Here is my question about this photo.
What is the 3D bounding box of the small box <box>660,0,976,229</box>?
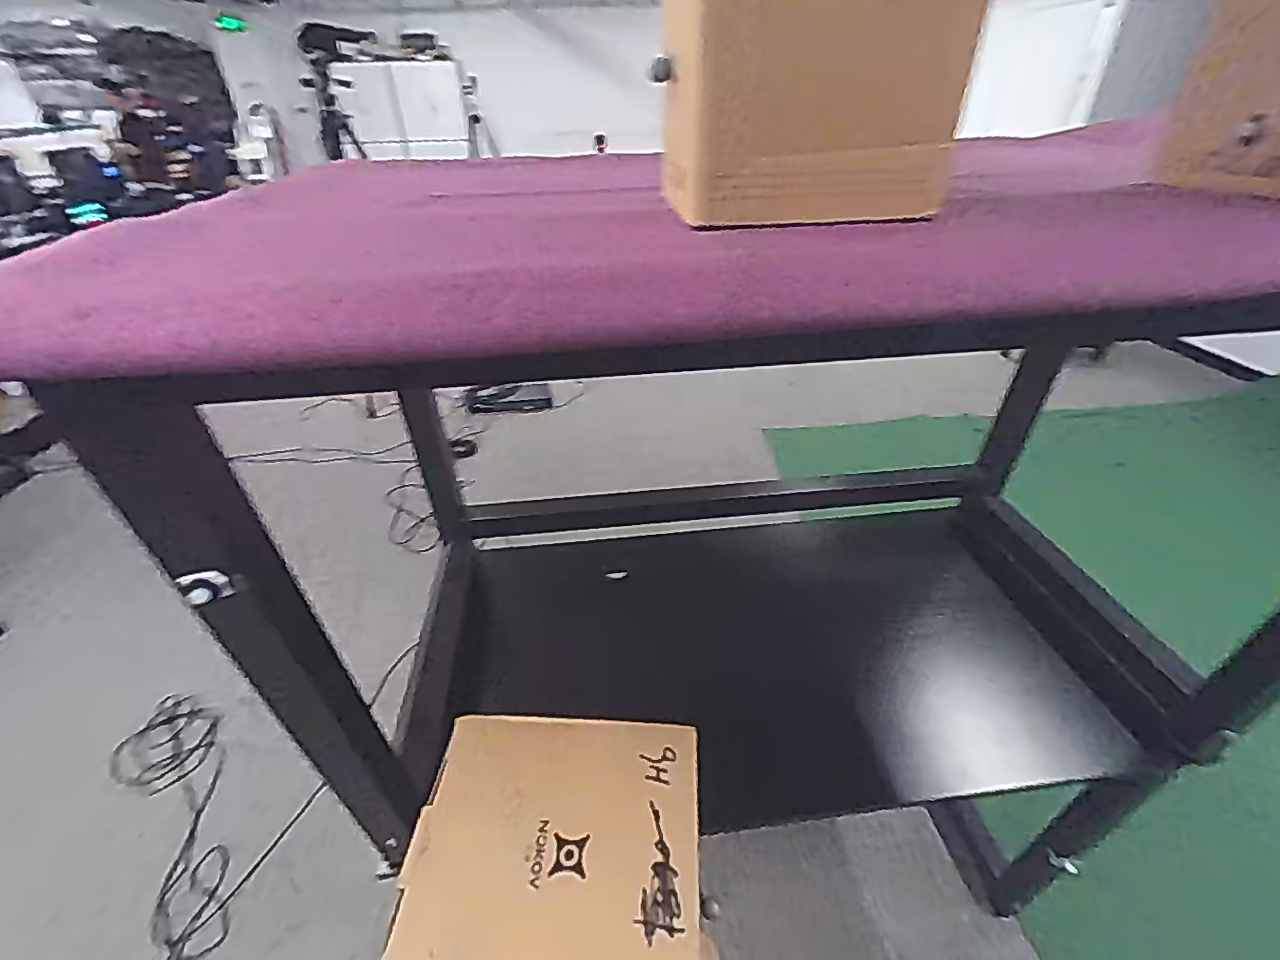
[{"bbox_3d":[0.110,-0.284,0.386,0.179,0.176,0.168,-4,35,-4],"label":"small box"}]
